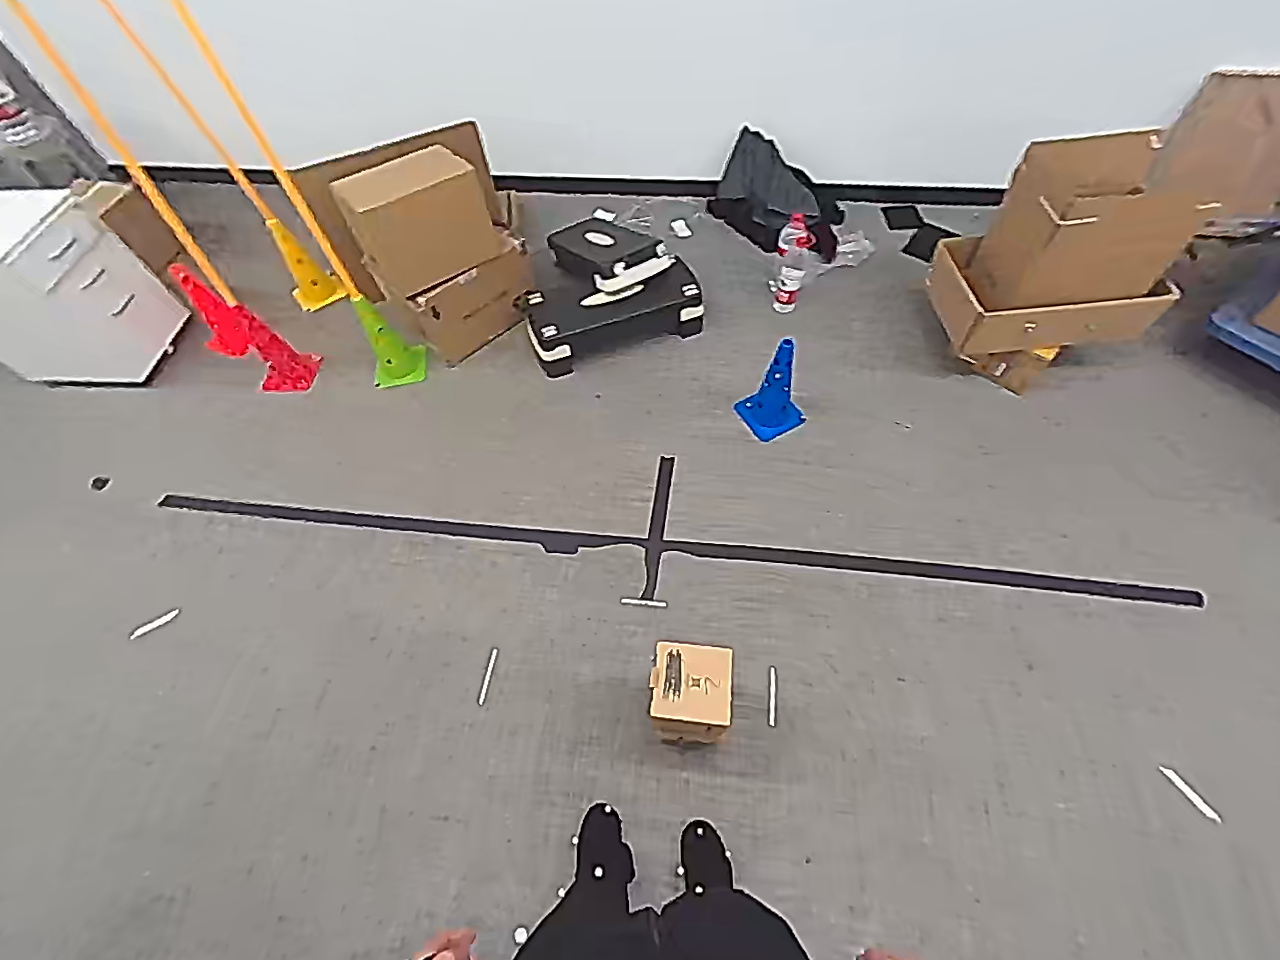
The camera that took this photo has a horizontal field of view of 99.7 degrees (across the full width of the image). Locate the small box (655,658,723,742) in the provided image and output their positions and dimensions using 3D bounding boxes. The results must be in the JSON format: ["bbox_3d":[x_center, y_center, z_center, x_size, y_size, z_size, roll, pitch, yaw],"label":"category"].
[{"bbox_3d":[0.130,0.576,1.406,0.168,0.176,0.179,2,59,5],"label":"small box"}]
